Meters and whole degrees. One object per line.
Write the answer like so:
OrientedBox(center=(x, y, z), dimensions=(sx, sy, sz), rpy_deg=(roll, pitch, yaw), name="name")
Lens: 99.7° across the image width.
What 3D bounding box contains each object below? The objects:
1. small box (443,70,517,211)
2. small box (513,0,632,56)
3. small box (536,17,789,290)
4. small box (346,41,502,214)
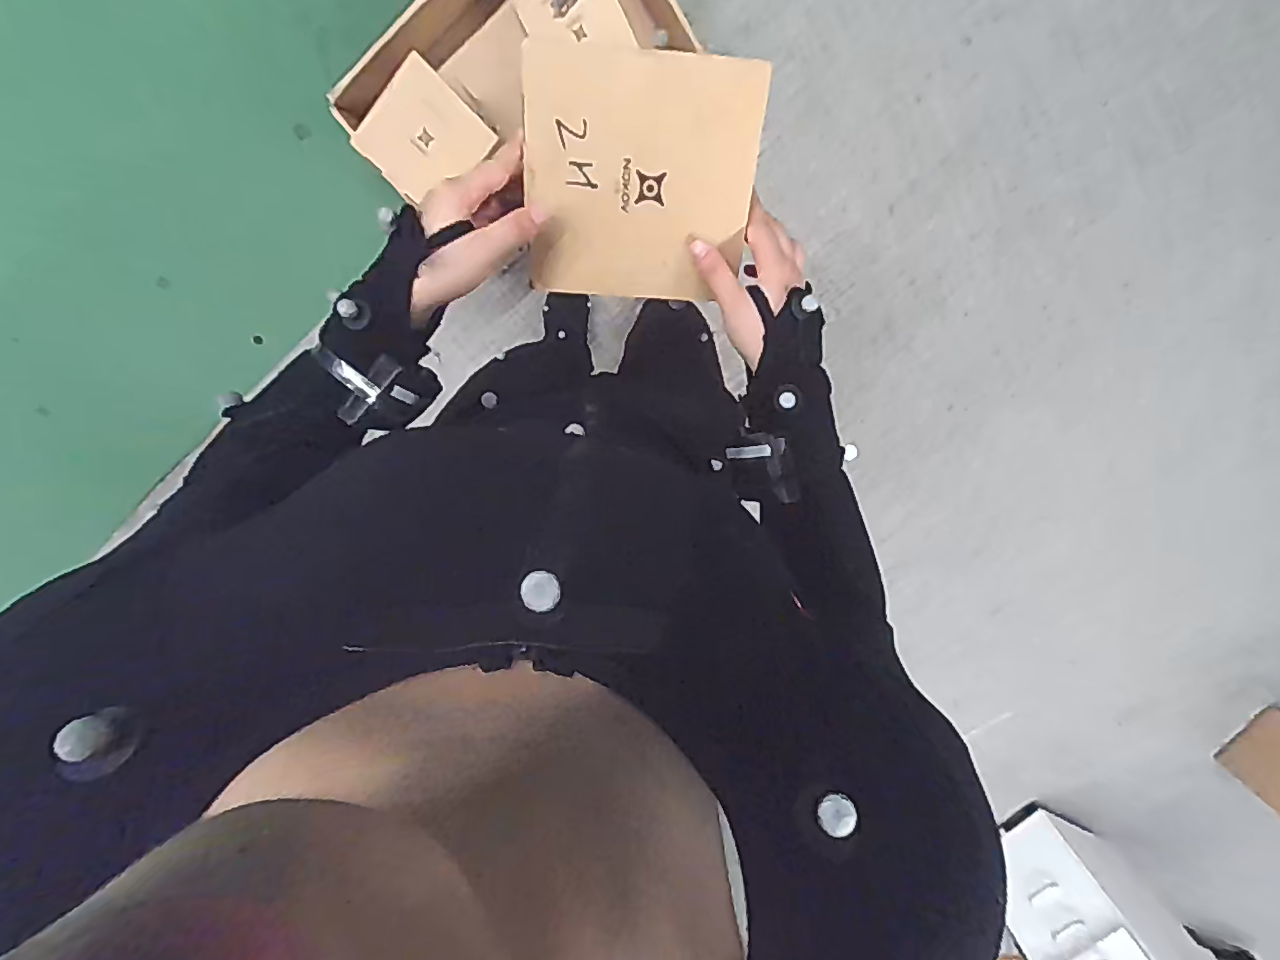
OrientedBox(center=(-0.365, -0.656, 1.073), dimensions=(0.179, 0.176, 0.168), rpy_deg=(-34, 114, 11), name="small box")
OrientedBox(center=(-0.119, -0.835, 1.010), dimensions=(0.168, 0.176, 0.179), rpy_deg=(-29, 116, 9), name="small box")
OrientedBox(center=(0.006, -0.275, 0.471), dimensions=(0.179, 0.176, 0.168), rpy_deg=(2, 122, -5), name="small box")
OrientedBox(center=(-0.355, -0.582, 0.926), dimensions=(0.168, 0.176, 0.179), rpy_deg=(40, 104, -22), name="small box")
